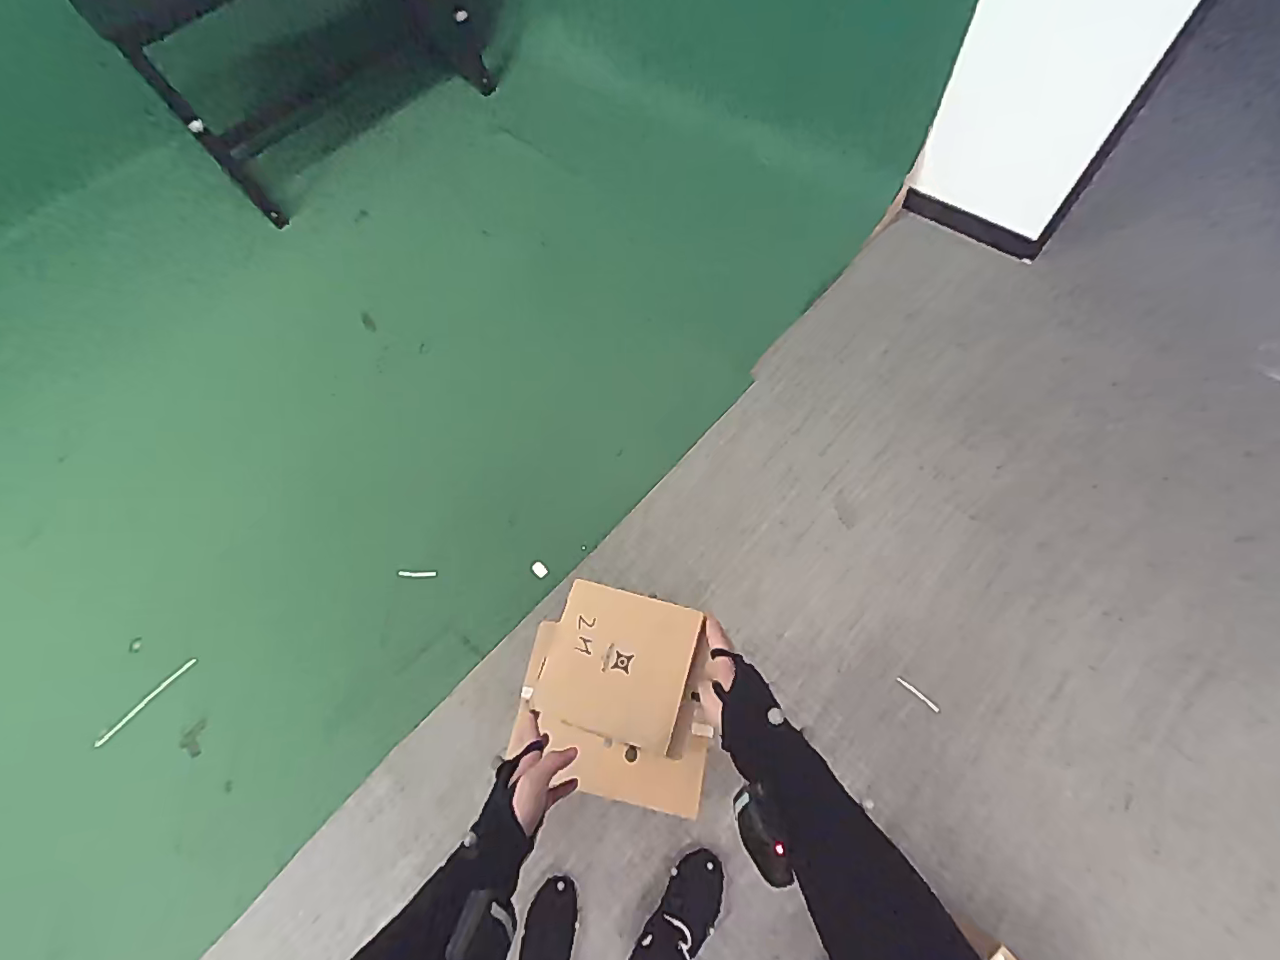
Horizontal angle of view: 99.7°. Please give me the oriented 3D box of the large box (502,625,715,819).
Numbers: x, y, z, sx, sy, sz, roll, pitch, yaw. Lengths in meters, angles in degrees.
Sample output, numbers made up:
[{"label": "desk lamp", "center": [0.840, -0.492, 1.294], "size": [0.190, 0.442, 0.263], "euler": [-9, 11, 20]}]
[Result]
[{"label": "large box", "center": [-0.042, 0.545, 1.250], "size": [0.408, 0.320, 0.320], "euler": [7, 66, 11]}]

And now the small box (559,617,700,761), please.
[{"label": "small box", "center": [-0.007, 0.343, 0.885], "size": [0.179, 0.176, 0.168], "euler": [15, 68, 12]}]
